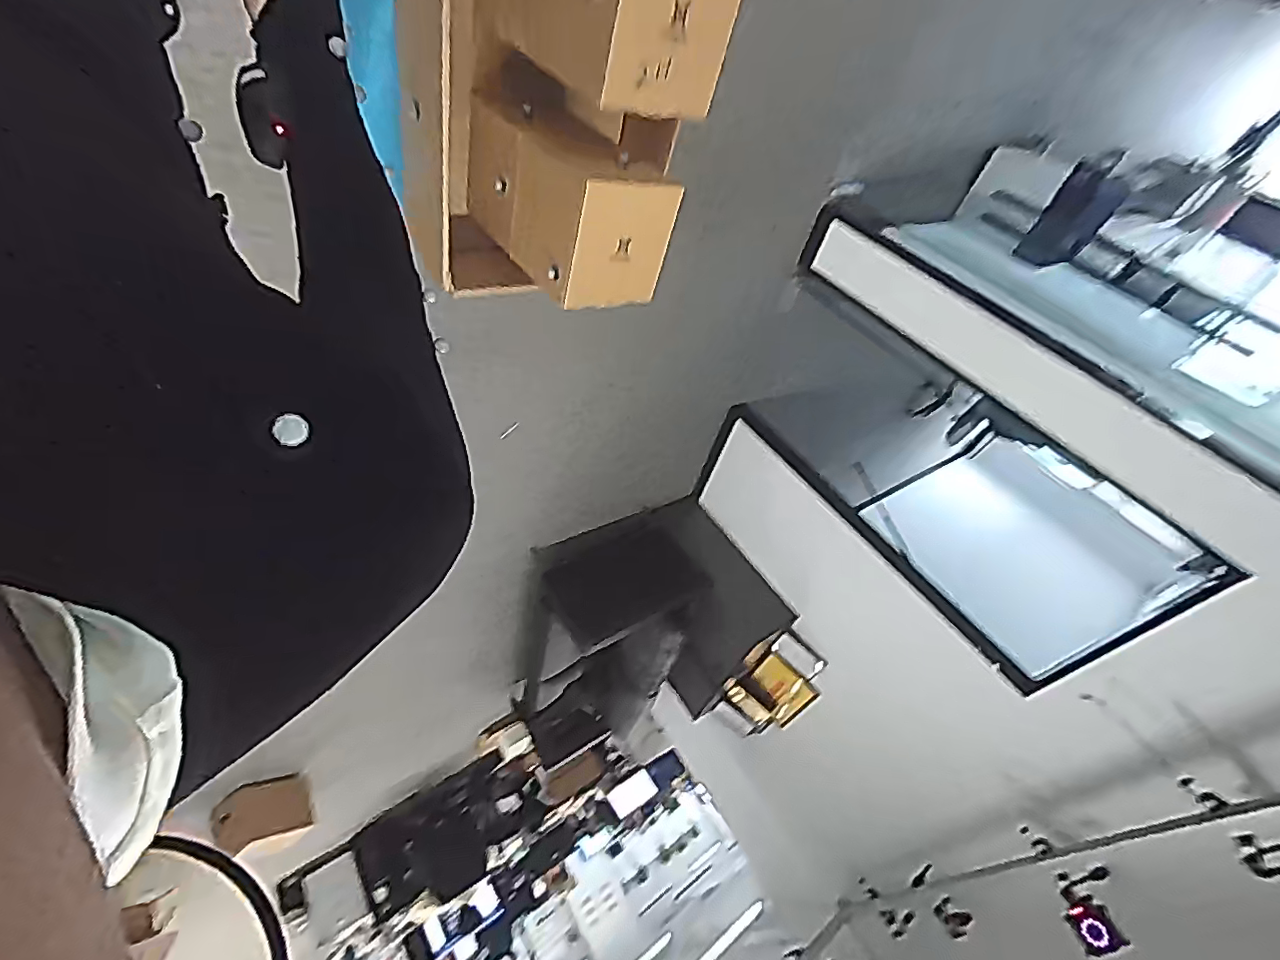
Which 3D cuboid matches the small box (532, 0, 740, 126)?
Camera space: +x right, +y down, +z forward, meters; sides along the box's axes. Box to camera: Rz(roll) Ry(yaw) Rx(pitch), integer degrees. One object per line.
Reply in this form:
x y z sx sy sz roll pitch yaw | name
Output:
-0.009 -0.544 0.623 0.168 0.176 0.179 -19 147 -34 | small box

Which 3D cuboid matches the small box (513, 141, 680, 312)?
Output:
-0.073 -0.374 0.801 0.168 0.176 0.179 -18 145 -35 | small box
